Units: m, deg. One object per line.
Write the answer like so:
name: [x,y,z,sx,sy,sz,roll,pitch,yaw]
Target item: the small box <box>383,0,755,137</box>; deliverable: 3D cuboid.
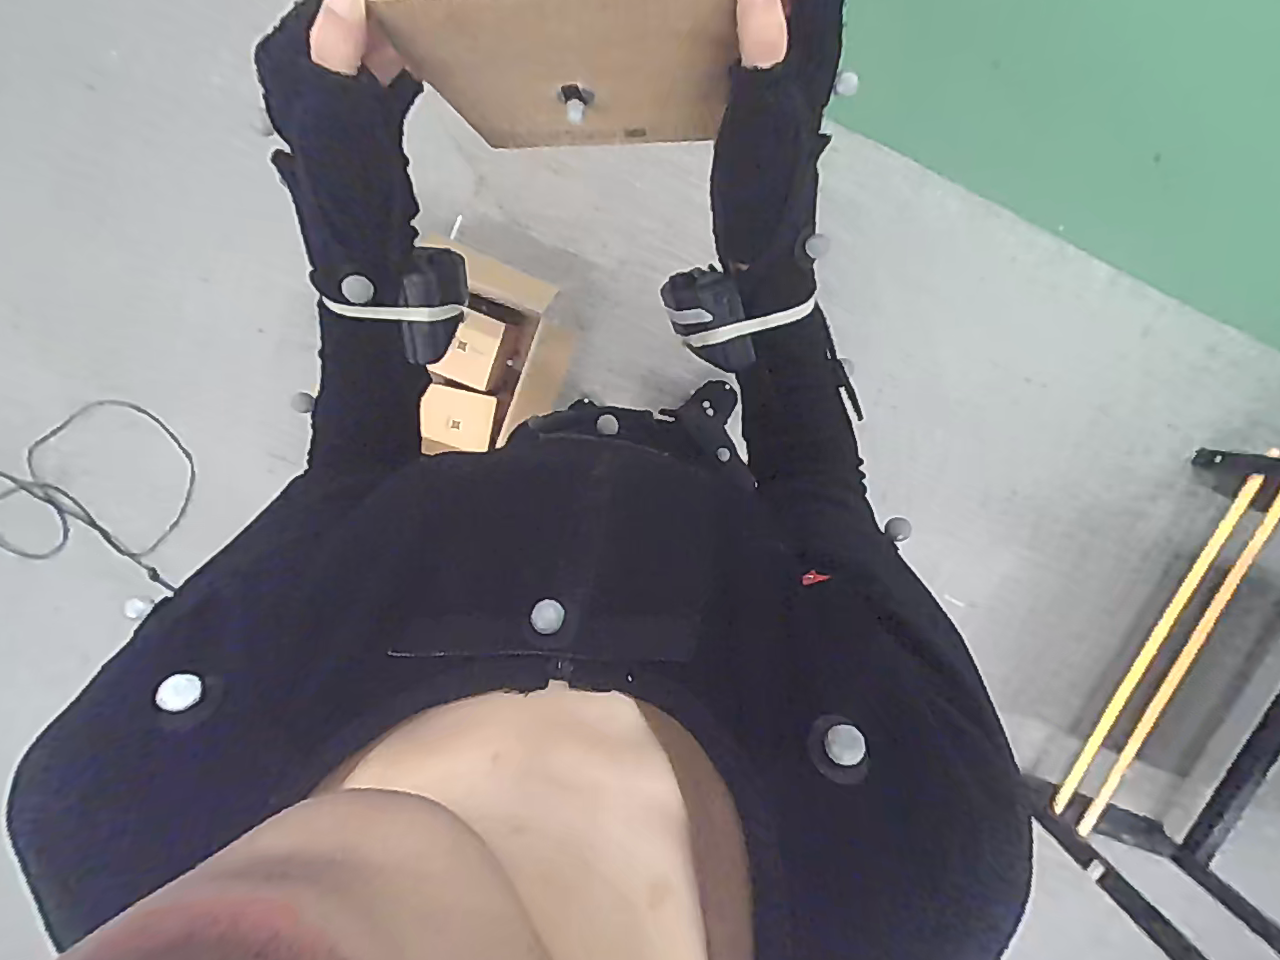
small box: [-0.023,-0.300,0.282,0.168,0.176,0.179,1,103,4]
